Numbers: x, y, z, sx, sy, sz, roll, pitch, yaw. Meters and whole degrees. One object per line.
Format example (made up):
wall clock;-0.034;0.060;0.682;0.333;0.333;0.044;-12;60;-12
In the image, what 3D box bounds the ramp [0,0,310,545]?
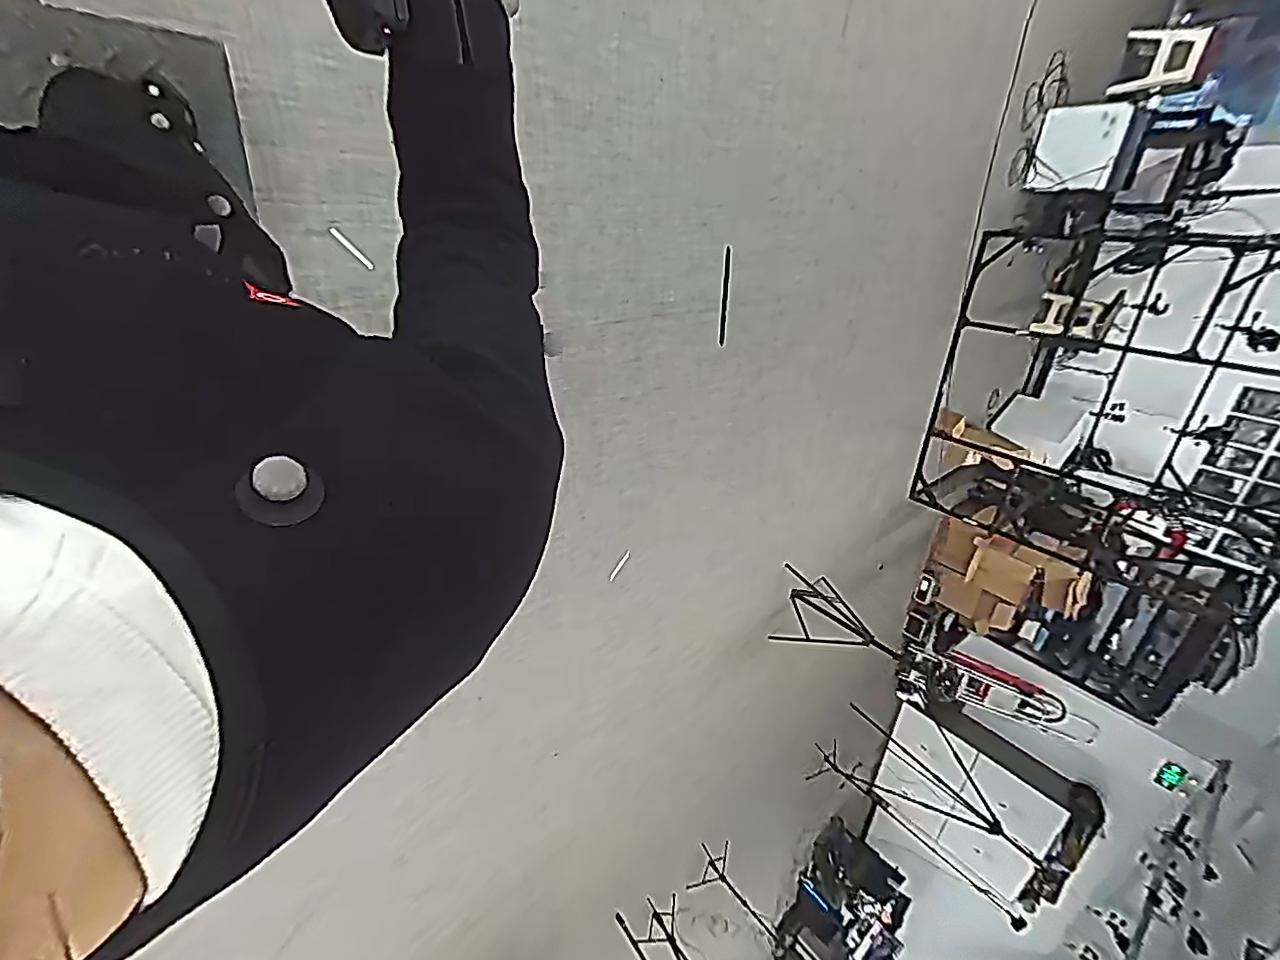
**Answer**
ramp;-1.010;-0.318;1.079;0.509;0.206;0.991;-19;124;-36
